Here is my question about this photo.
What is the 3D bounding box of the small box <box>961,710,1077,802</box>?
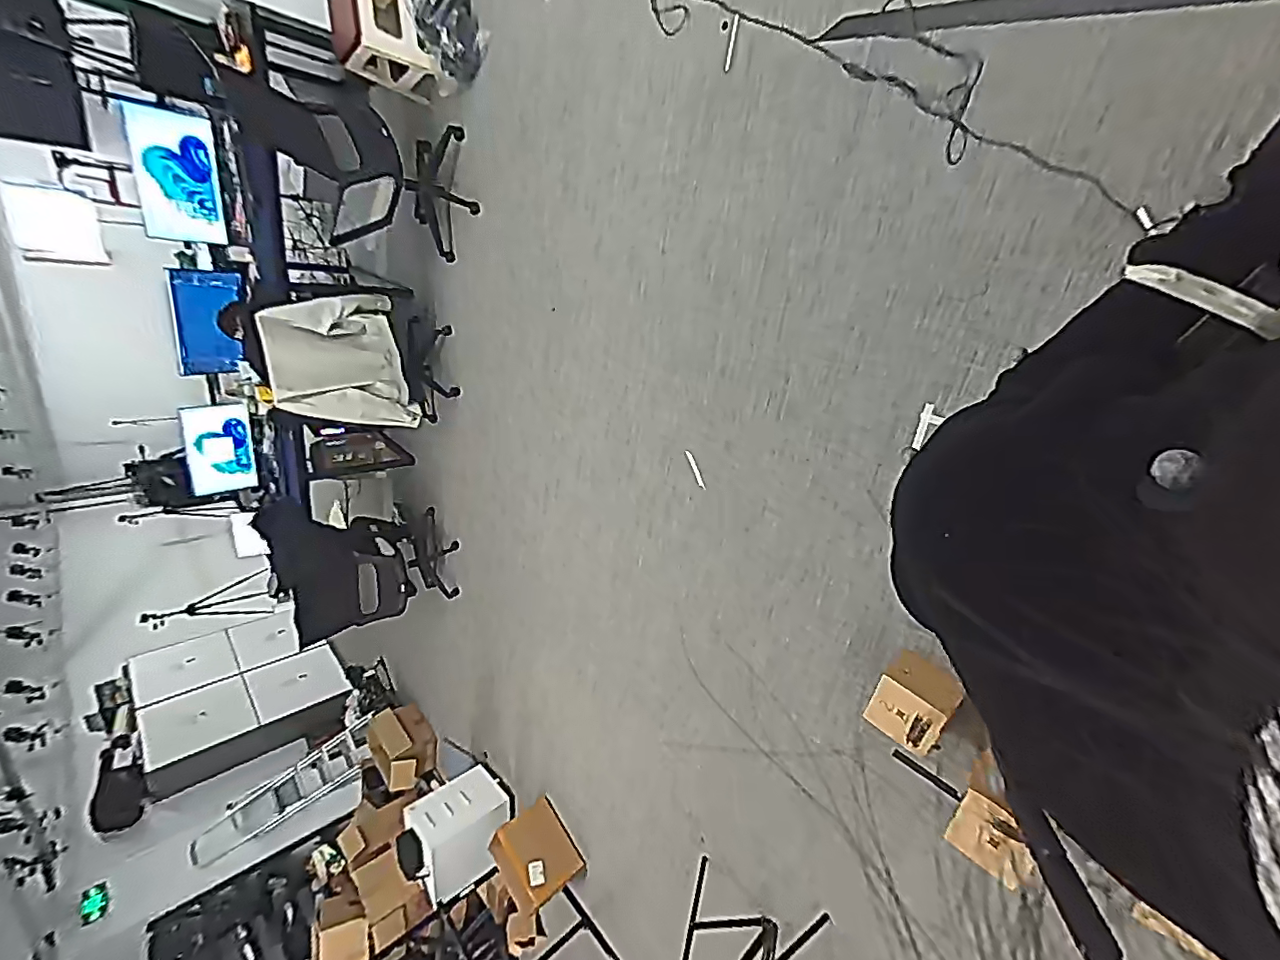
[{"bbox_3d":[0.931,0.709,1.324,0.168,0.176,0.179,32,122,36],"label":"small box"}]

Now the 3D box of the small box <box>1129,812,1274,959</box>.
[{"bbox_3d":[1.159,0.844,1.127,0.179,0.176,0.168,15,111,42],"label":"small box"}]

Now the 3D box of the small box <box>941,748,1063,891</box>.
[{"bbox_3d":[0.816,0.750,1.214,0.168,0.176,0.179,29,121,38],"label":"small box"}]
